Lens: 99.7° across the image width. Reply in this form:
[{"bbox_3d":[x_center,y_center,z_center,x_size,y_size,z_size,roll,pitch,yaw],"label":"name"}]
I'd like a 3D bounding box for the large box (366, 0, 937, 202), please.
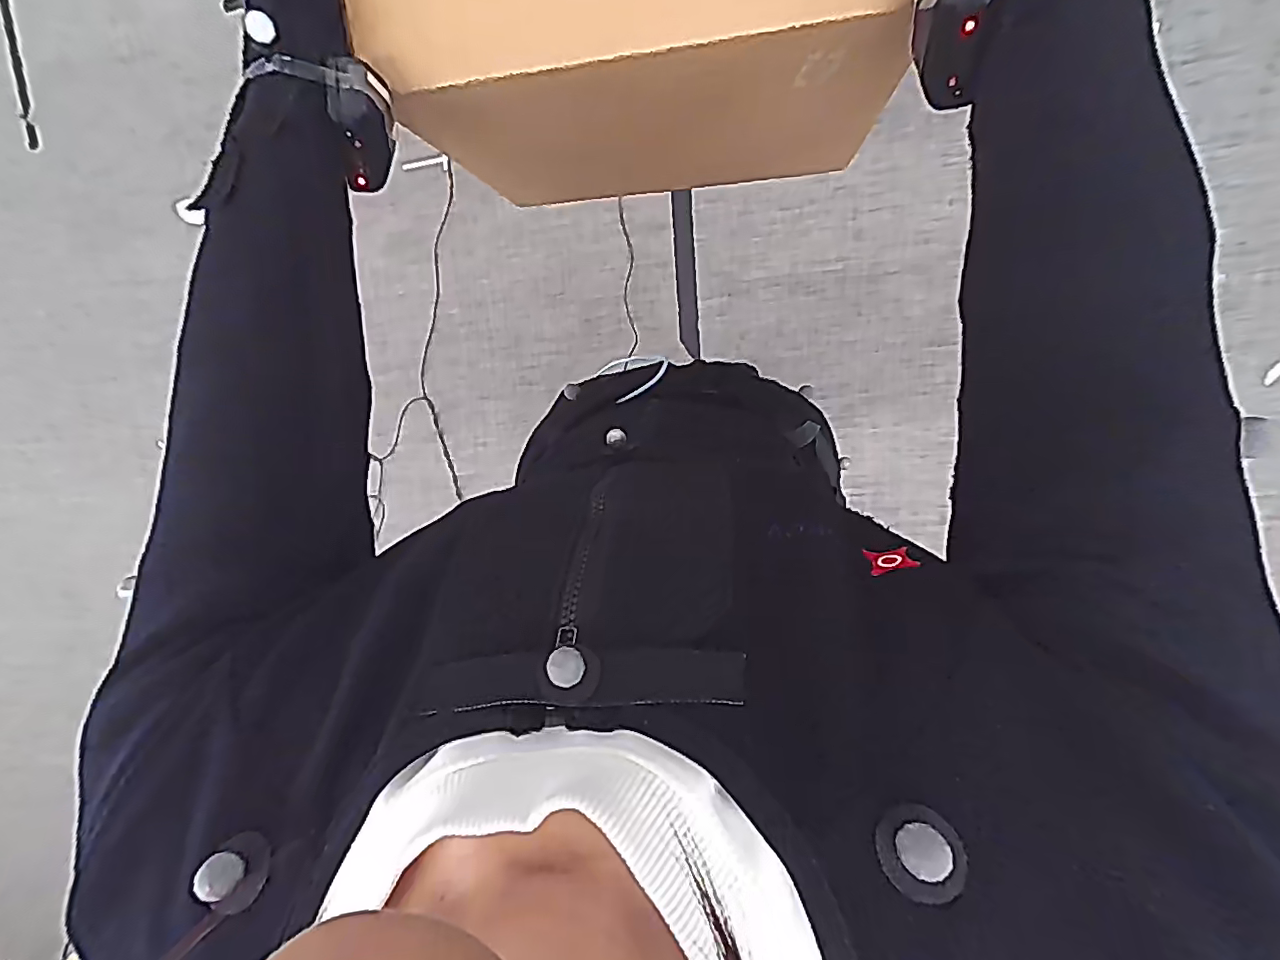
[{"bbox_3d":[0.010,-0.479,0.485,0.408,0.320,0.320,-2,103,9],"label":"large box"}]
